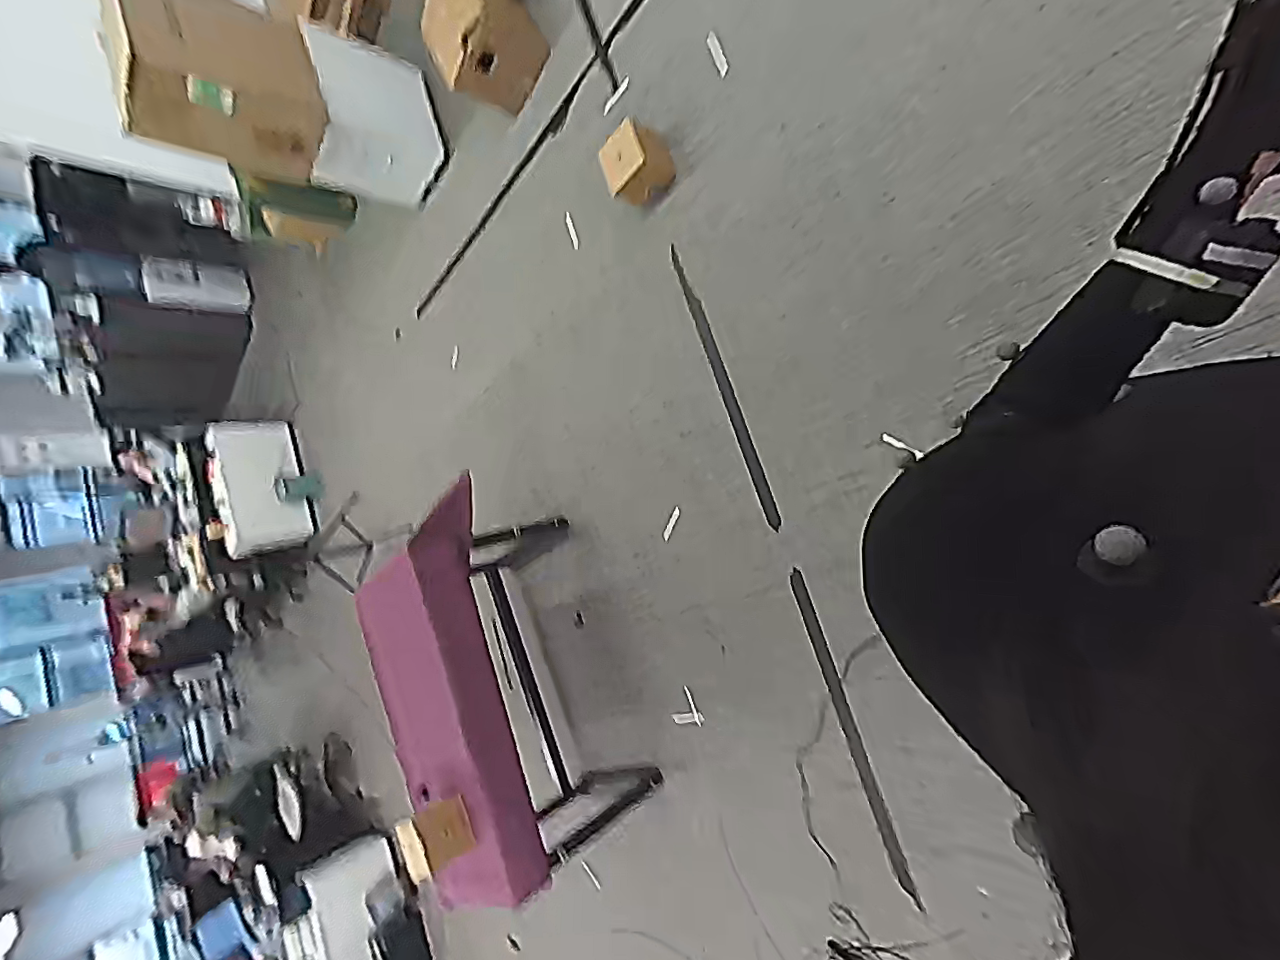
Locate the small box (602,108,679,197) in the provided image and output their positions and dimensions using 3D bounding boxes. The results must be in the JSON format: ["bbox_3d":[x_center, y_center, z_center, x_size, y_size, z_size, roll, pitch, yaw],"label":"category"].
[{"bbox_3d":[0.003,-1.101,1.837,0.168,0.176,0.179,-27,79,43],"label":"small box"}]

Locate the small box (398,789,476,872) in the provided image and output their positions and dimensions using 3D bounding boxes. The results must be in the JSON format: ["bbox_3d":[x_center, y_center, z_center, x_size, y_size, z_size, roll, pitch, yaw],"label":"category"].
[{"bbox_3d":[-0.667,1.155,1.789,0.179,0.176,0.168,-42,68,38],"label":"small box"}]
